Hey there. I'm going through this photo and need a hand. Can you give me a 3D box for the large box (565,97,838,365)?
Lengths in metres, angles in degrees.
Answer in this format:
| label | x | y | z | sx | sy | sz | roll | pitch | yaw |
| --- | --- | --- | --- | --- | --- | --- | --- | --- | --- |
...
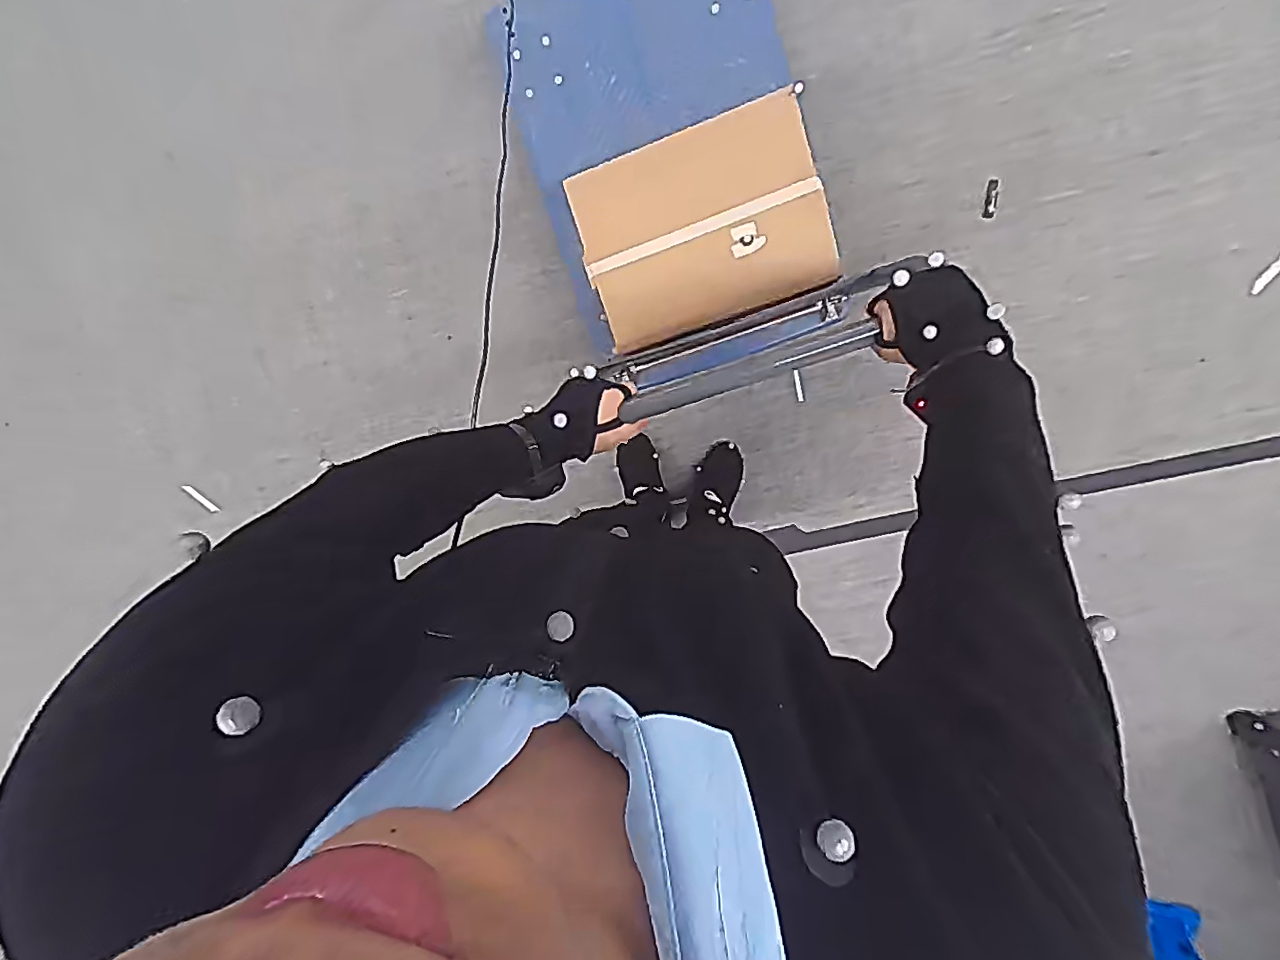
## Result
| label | x | y | z | sx | sy | sz | roll | pitch | yaw |
| --- | --- | --- | --- | --- | --- | --- | --- | --- | --- |
| large box | 0.117 | -0.442 | 1.067 | 0.408 | 0.320 | 0.320 | -17 | 99 | 9 |
